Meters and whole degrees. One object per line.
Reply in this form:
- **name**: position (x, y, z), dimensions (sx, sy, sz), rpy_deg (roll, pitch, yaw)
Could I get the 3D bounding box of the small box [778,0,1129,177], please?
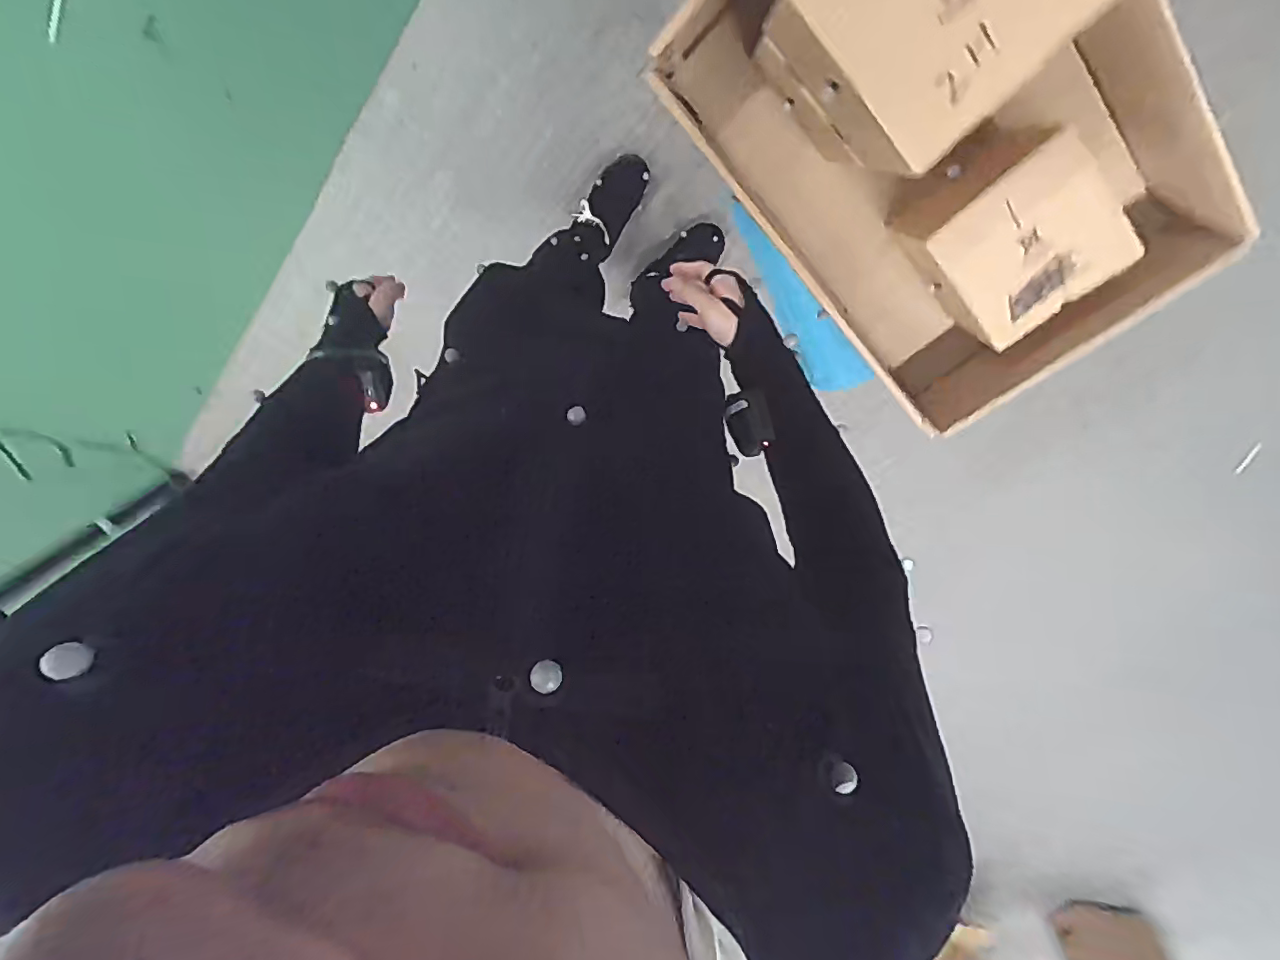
- **small box**: position (0.236, -0.388, 0.455), dimensions (0.179, 0.176, 0.168), rpy_deg (41, 118, -18)
